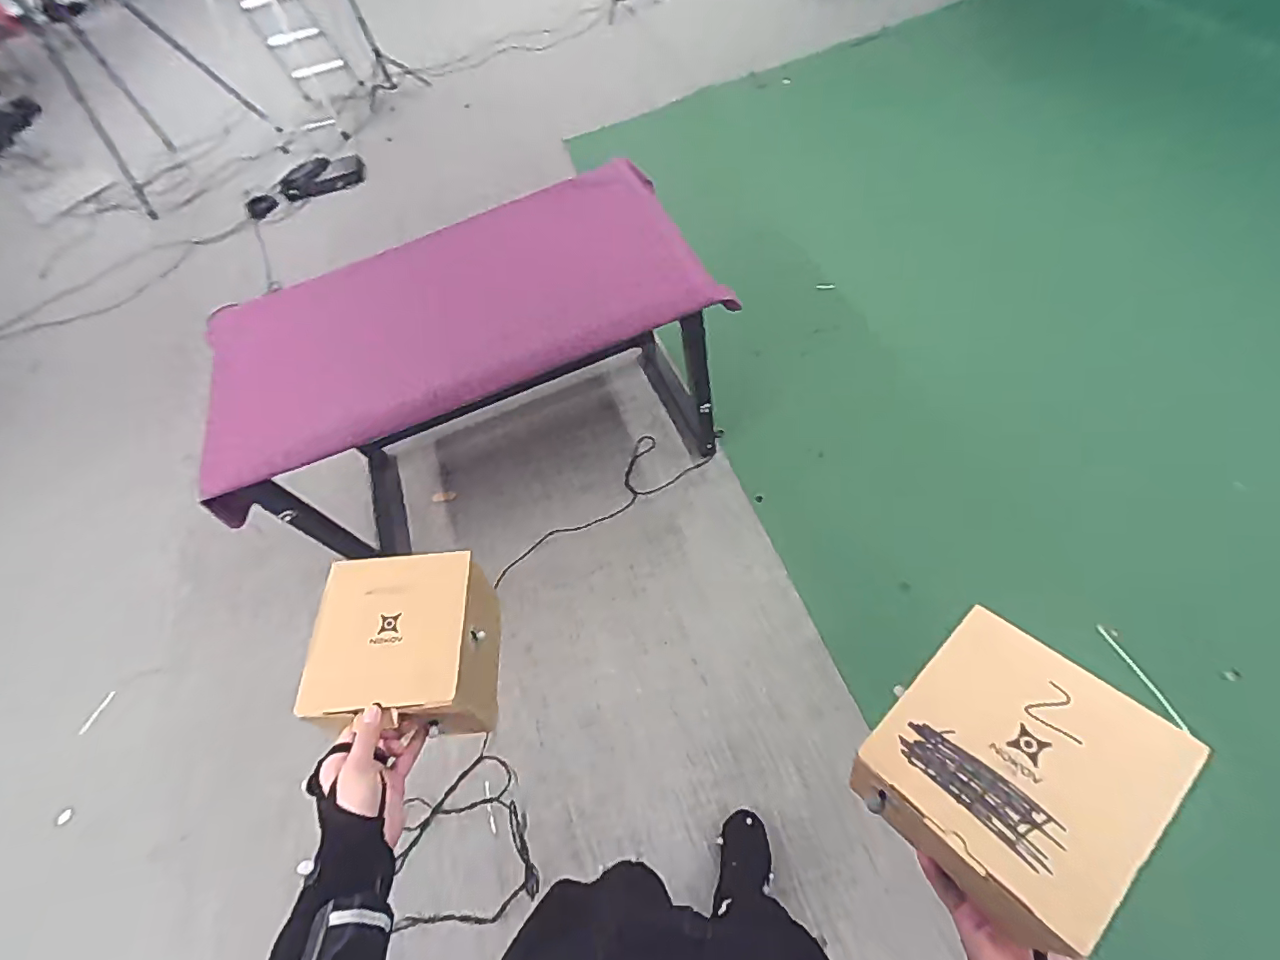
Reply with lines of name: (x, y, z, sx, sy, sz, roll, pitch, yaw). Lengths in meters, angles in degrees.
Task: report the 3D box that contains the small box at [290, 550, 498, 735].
small box: (-0.277, 0.204, 0.659, 0.168, 0.176, 0.179, -4, 55, -1)
